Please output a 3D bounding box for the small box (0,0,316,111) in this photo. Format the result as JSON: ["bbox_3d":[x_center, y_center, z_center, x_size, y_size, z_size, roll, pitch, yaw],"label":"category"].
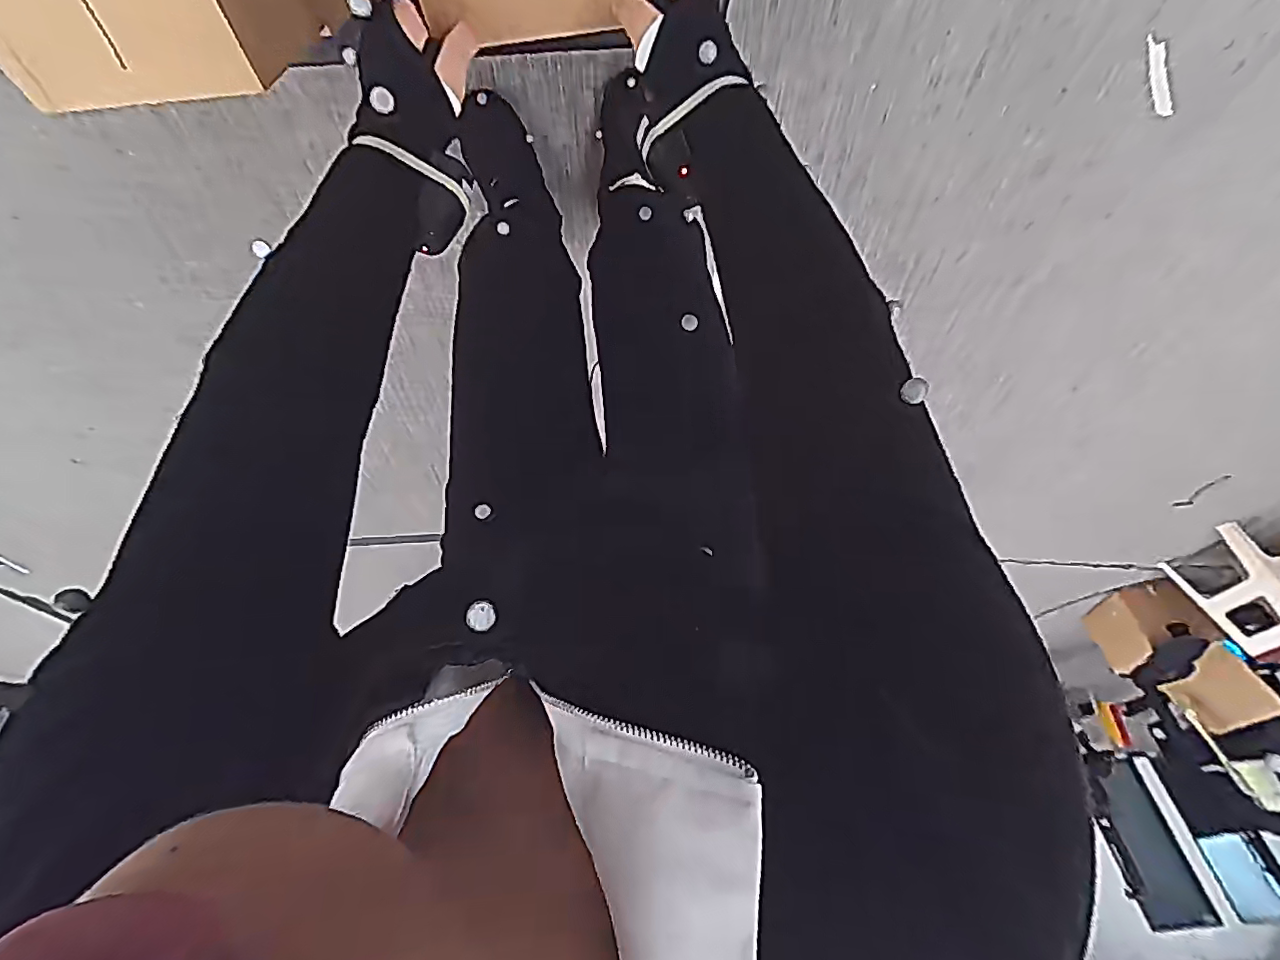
[{"bbox_3d":[-0.358,-0.384,0.362,0.168,0.176,0.179,-6,144,-1],"label":"small box"}]

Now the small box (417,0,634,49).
[{"bbox_3d":[-0.099,-0.487,0.440,0.179,0.176,0.168,-3,143,6],"label":"small box"}]

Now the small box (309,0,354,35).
[{"bbox_3d":[-0.369,-0.512,0.464,0.168,0.176,0.179,-5,144,-2],"label":"small box"}]
